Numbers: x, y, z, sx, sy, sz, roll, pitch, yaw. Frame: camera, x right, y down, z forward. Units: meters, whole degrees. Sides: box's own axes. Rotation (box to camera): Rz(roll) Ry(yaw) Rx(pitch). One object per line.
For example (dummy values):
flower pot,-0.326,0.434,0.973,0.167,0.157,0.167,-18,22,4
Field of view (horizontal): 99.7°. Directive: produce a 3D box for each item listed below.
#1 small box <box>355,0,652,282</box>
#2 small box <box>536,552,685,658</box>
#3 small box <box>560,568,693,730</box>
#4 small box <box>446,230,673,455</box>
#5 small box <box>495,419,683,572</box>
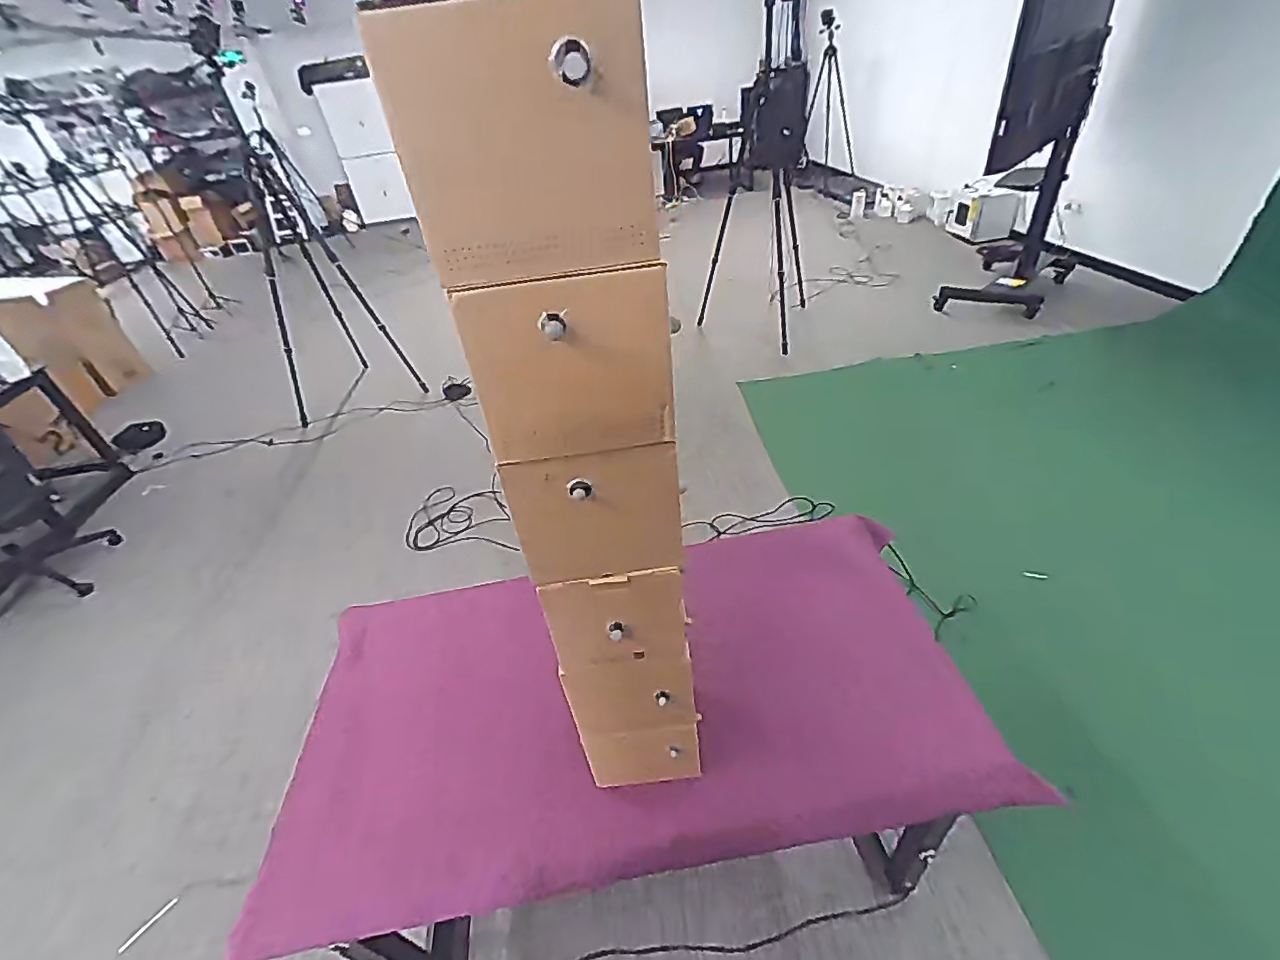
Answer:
small box,-0.084,-0.275,0.437,0.179,0.176,0.168,-8,37,0
small box,-0.033,0.120,0.723,0.168,0.176,0.179,-7,37,1
small box,-0.015,0.253,0.816,0.179,0.176,0.168,-7,37,2
small box,-0.063,-0.142,0.531,0.179,0.176,0.168,-8,37,0
small box,-0.051,-0.011,0.626,0.179,0.176,0.168,-8,37,-1
